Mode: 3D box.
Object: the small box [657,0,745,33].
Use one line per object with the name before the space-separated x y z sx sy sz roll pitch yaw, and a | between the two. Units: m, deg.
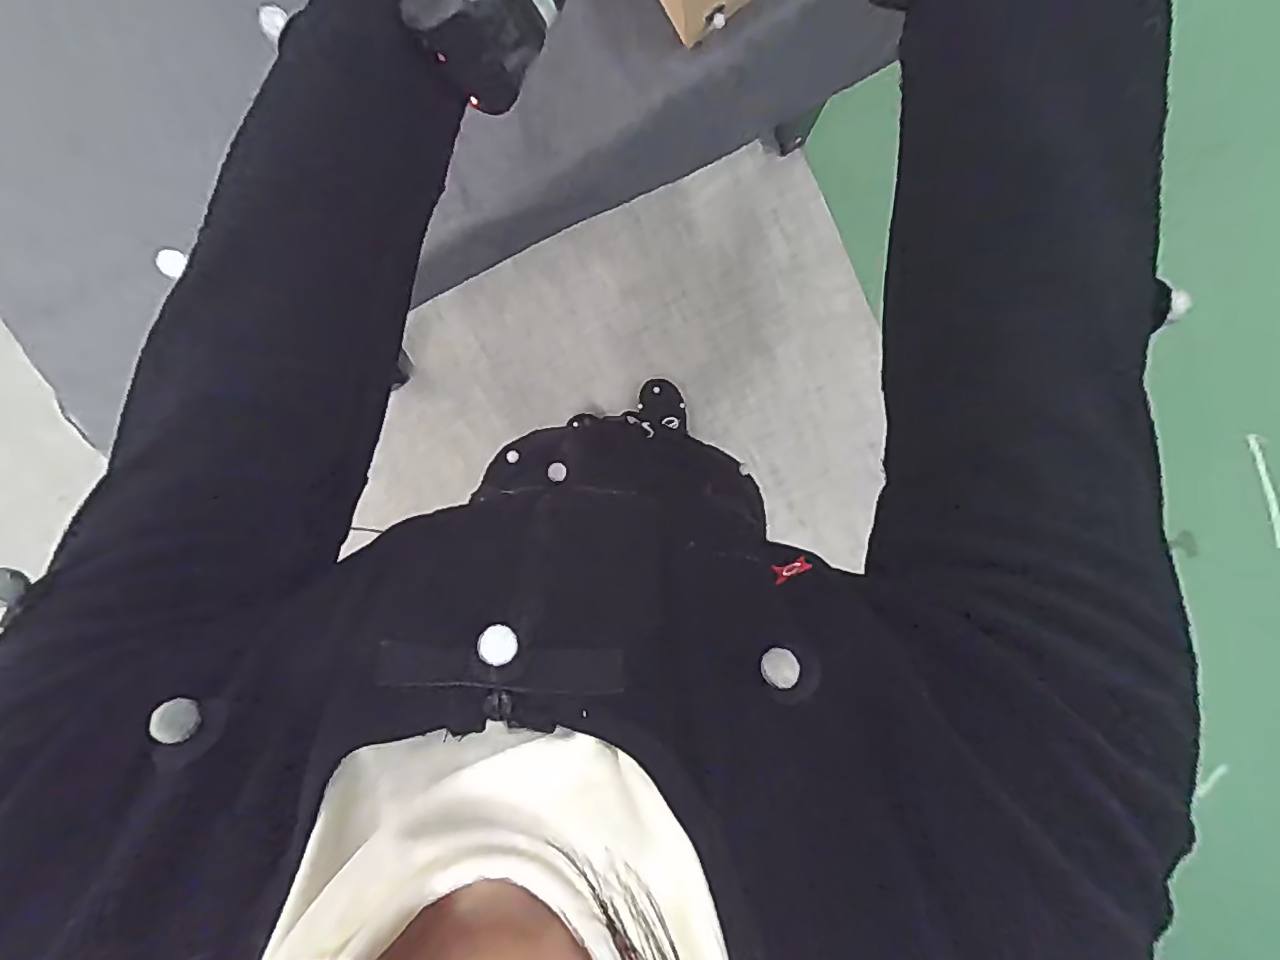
small box | 0.064 -0.544 0.467 0.168 0.176 0.179 -30 98 13
